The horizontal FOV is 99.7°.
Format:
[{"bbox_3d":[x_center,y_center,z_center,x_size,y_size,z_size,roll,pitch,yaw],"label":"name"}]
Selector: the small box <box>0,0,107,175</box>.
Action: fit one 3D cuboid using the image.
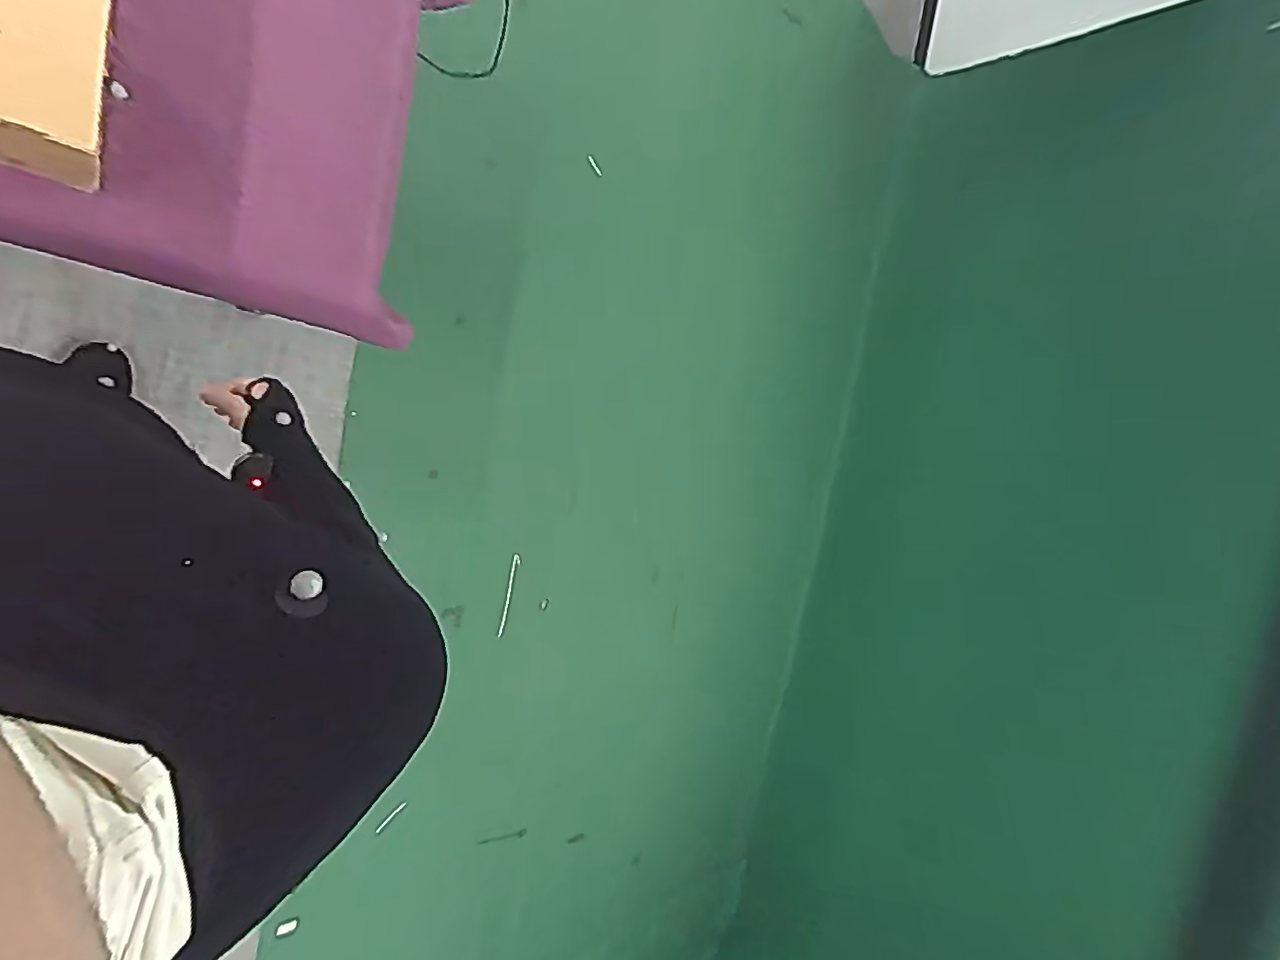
[{"bbox_3d":[-0.621,-0.421,0.502,0.168,0.176,0.179,5,97,-47],"label":"small box"}]
